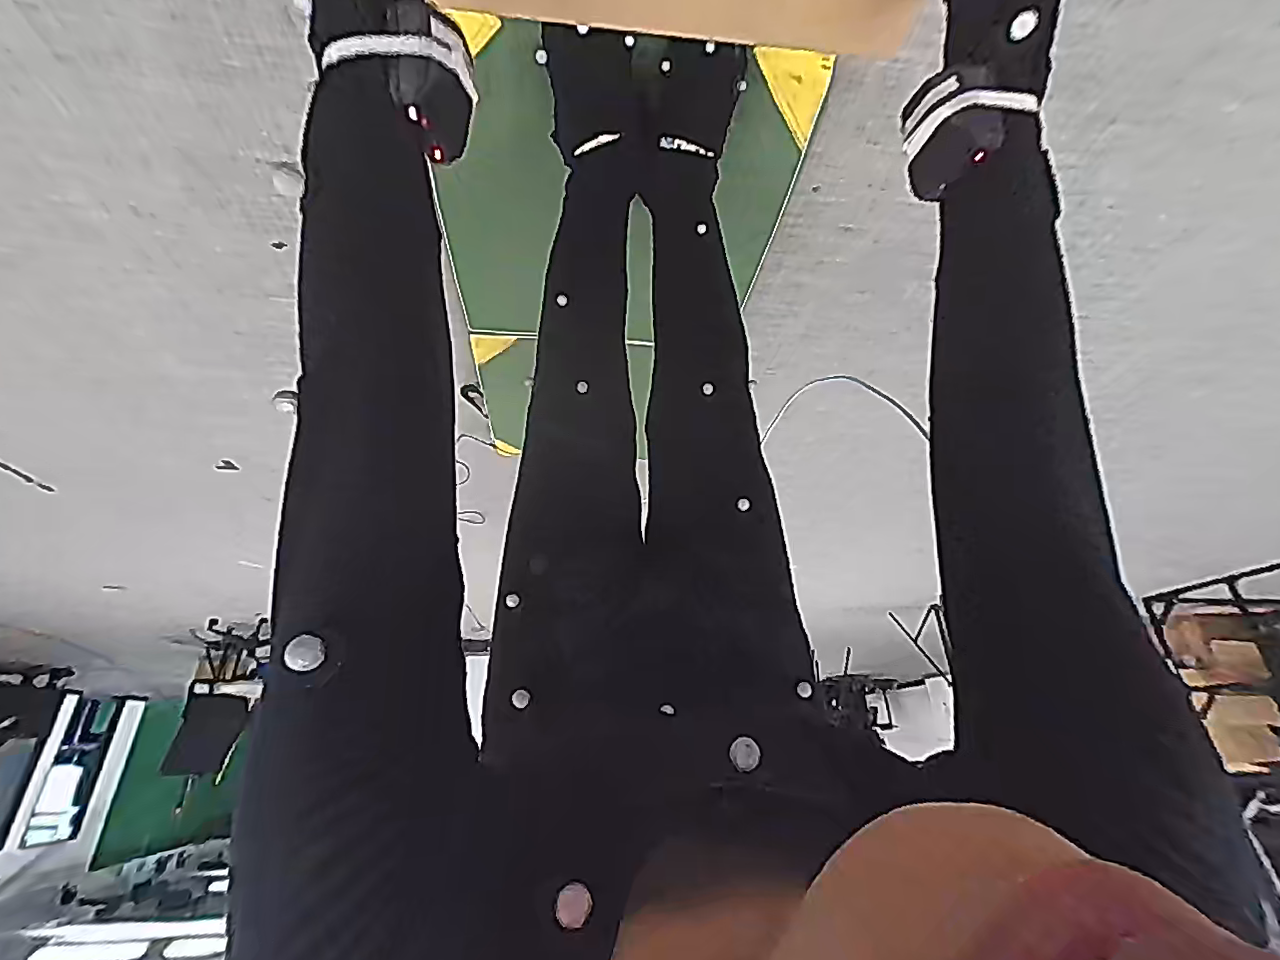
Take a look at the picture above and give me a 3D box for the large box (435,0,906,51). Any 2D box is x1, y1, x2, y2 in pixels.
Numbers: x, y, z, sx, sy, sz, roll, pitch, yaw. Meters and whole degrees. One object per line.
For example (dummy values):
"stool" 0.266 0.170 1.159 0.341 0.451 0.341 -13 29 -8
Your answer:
"large box" 0.031 -0.592 0.406 0.408 0.320 0.320 0 154 -7
